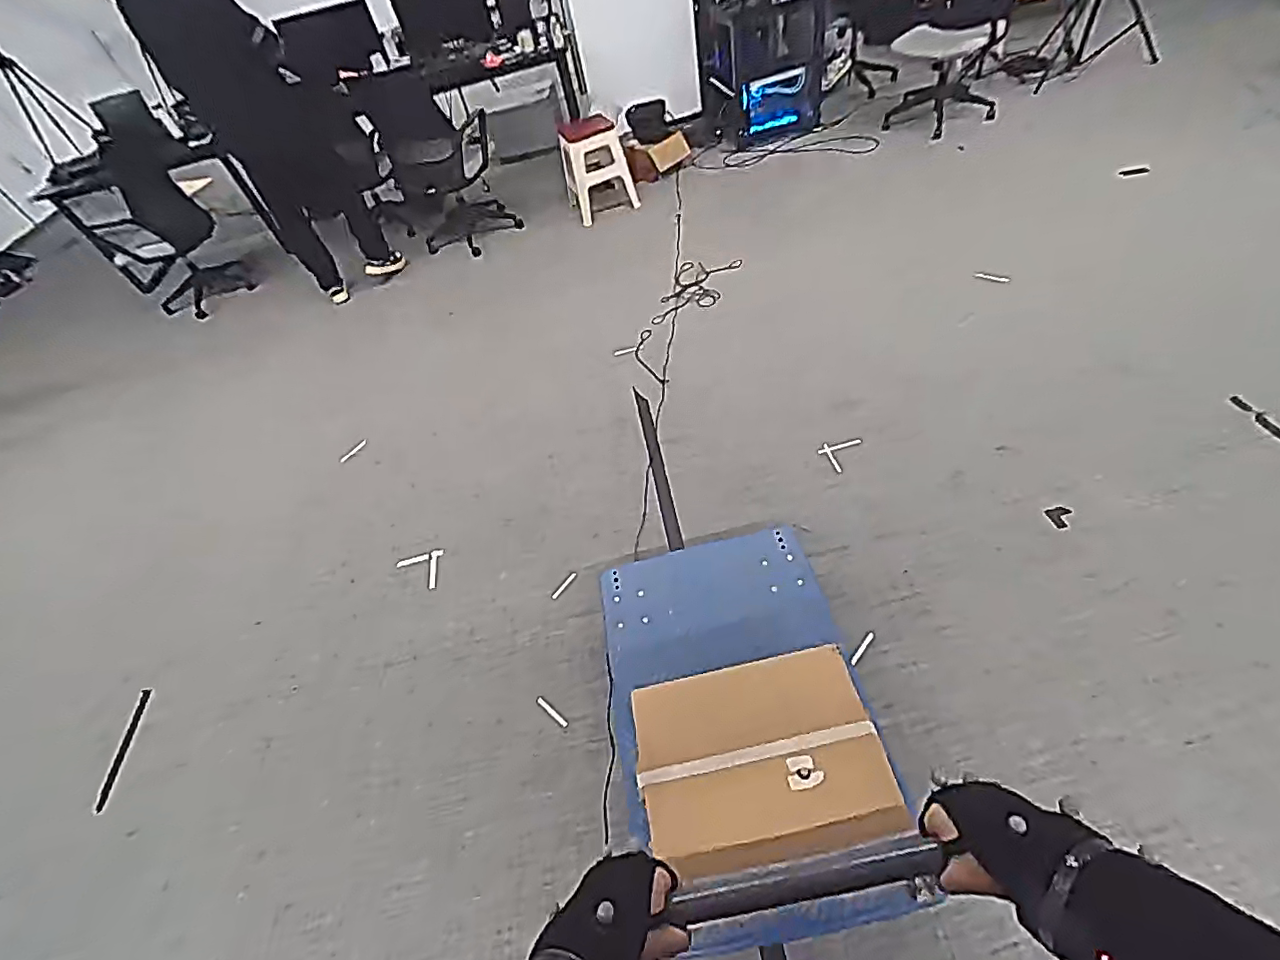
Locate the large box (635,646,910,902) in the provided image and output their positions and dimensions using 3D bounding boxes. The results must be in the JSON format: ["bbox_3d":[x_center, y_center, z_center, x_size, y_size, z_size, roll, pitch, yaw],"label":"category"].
[{"bbox_3d":[0.231,0.574,1.049,0.408,0.320,0.320,-14,48,1],"label":"large box"}]
